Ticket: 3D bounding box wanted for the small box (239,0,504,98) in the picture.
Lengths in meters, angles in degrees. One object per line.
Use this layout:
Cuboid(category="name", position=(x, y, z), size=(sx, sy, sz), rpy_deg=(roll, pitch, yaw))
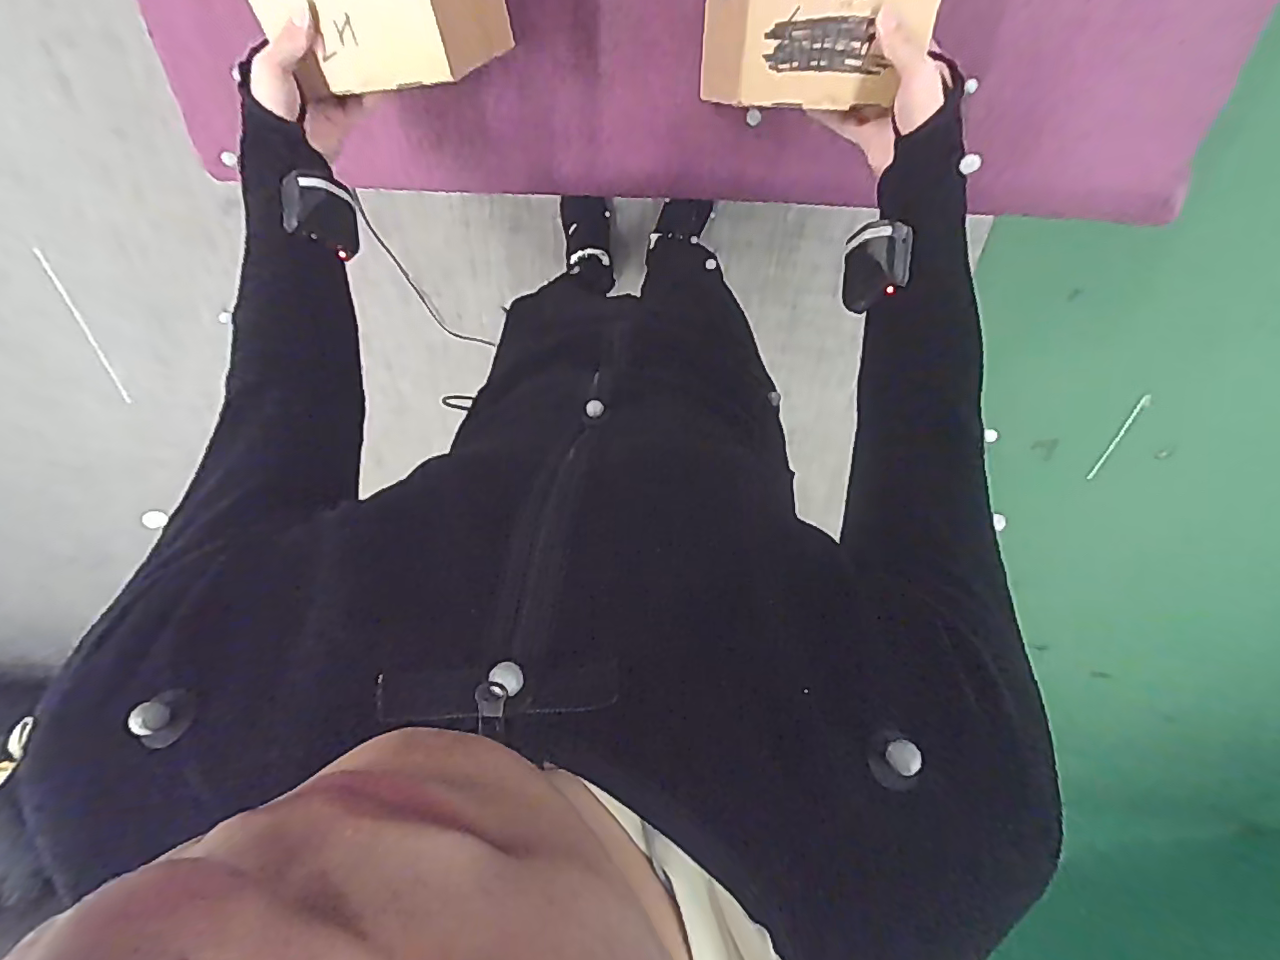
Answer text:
Cuboid(category="small box", position=(-0.242, -0.466, 0.477), size=(0.168, 0.176, 0.179), rpy_deg=(3, 137, 12))
